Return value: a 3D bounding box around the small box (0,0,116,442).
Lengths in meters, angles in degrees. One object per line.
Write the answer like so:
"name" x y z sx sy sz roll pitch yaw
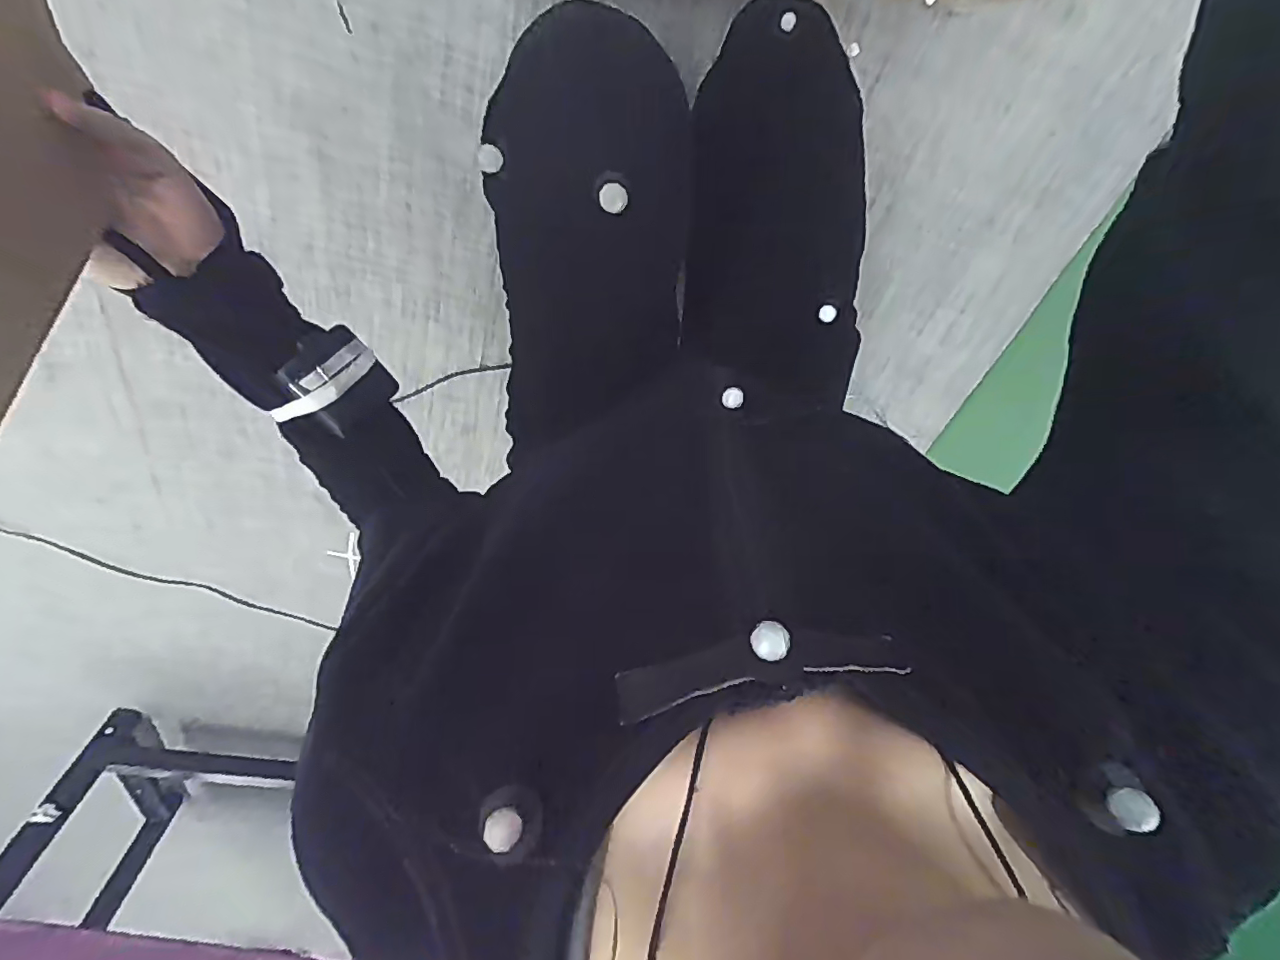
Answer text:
"small box" -0.312 -0.132 0.162 0.168 0.176 0.179 4 145 -24
